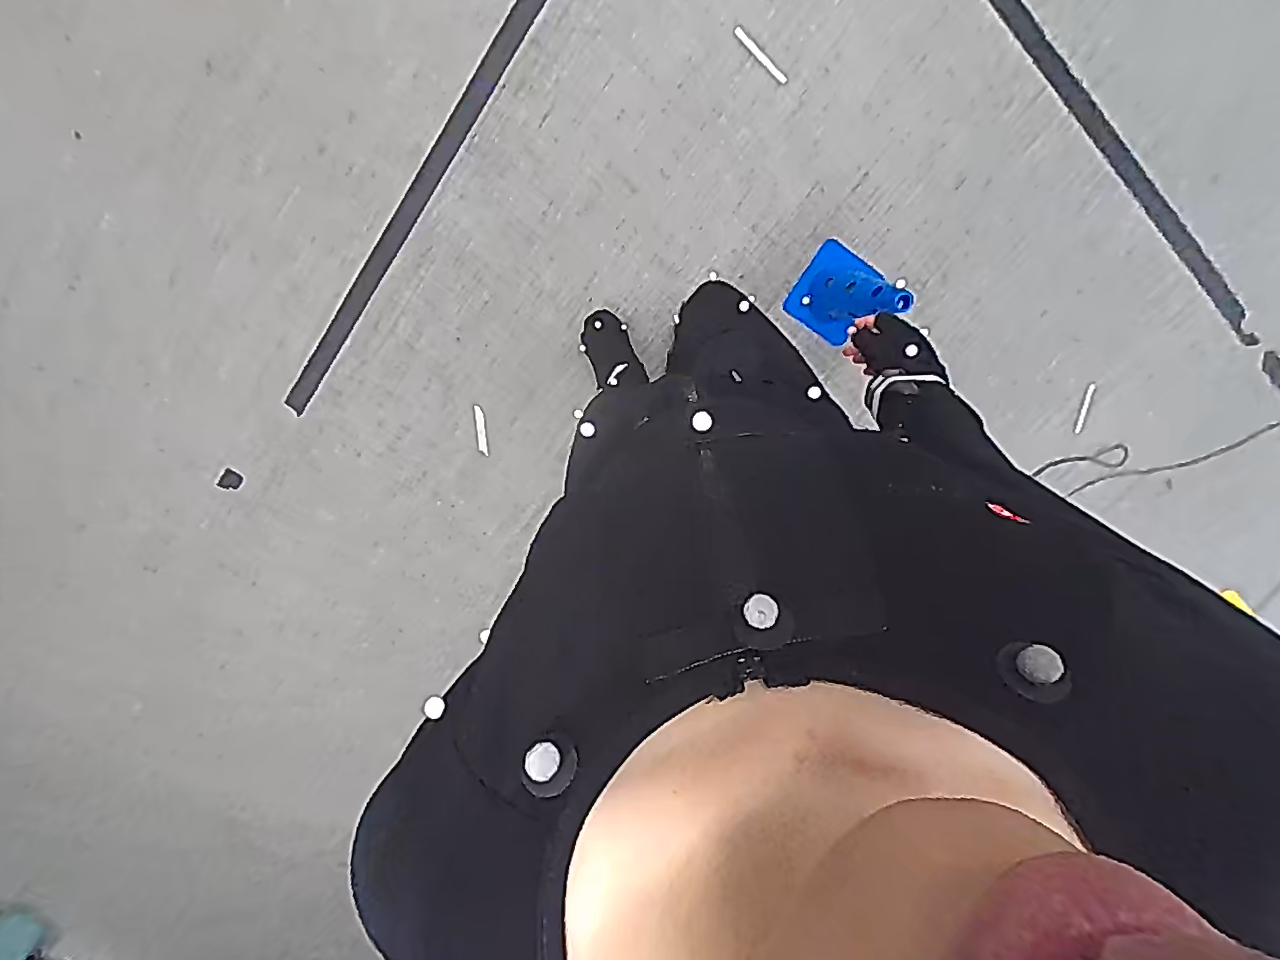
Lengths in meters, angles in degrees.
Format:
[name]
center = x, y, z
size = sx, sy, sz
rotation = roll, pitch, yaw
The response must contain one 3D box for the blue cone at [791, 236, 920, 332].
[blue cone]
center = 0.497, -0.425, 1.192
size = 0.193, 0.380, 0.192
rotation = 31, 106, -13
